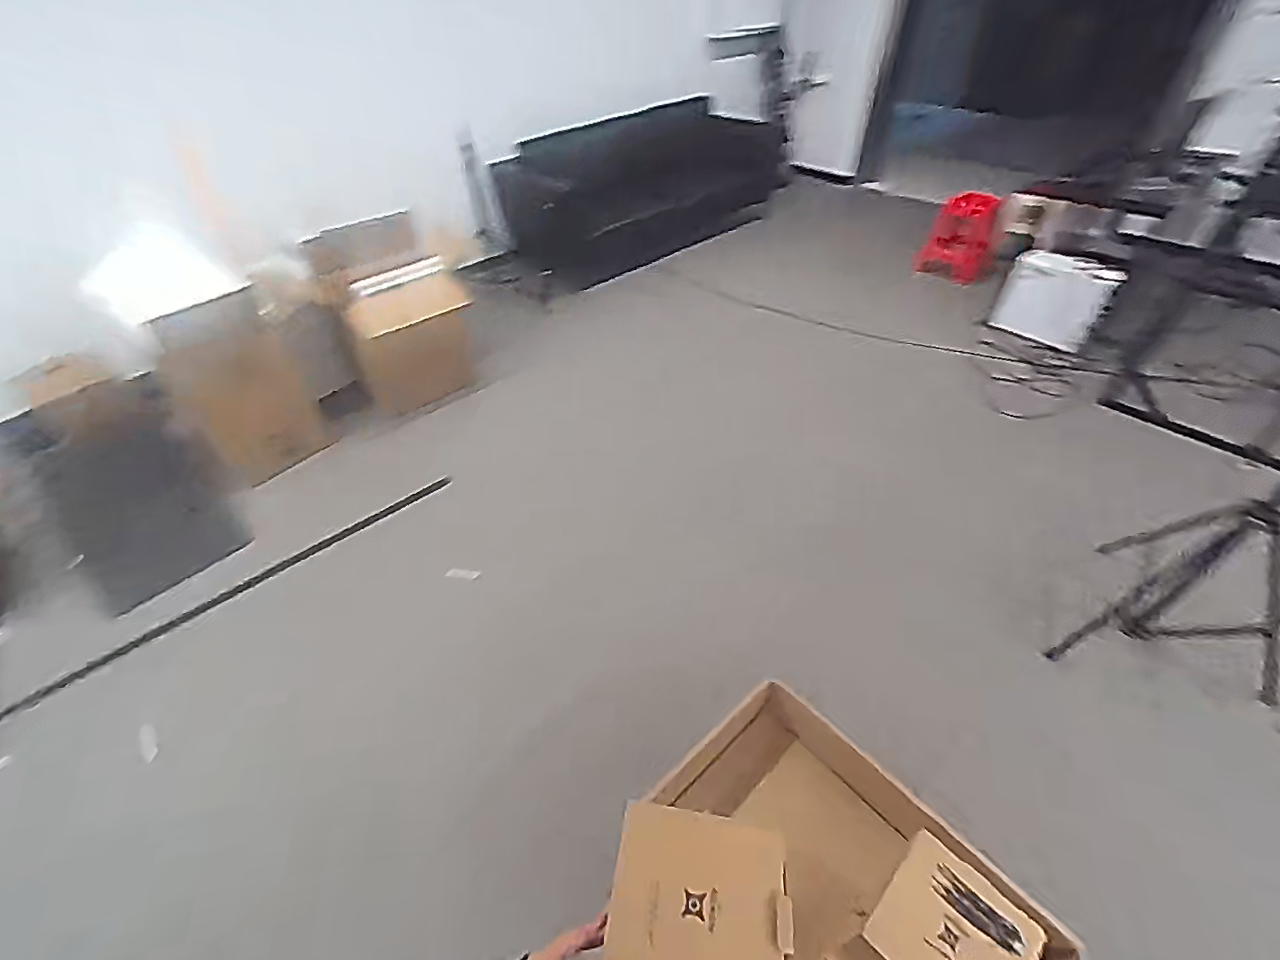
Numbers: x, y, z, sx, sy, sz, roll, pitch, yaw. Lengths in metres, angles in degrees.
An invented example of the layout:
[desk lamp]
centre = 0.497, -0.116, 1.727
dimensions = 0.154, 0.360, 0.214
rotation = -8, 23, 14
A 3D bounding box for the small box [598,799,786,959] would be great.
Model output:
[small box]
centre = 0.055, 0.476, 0.589
dimensions = 0.179, 0.176, 0.168
rotation = 6, 44, 7
